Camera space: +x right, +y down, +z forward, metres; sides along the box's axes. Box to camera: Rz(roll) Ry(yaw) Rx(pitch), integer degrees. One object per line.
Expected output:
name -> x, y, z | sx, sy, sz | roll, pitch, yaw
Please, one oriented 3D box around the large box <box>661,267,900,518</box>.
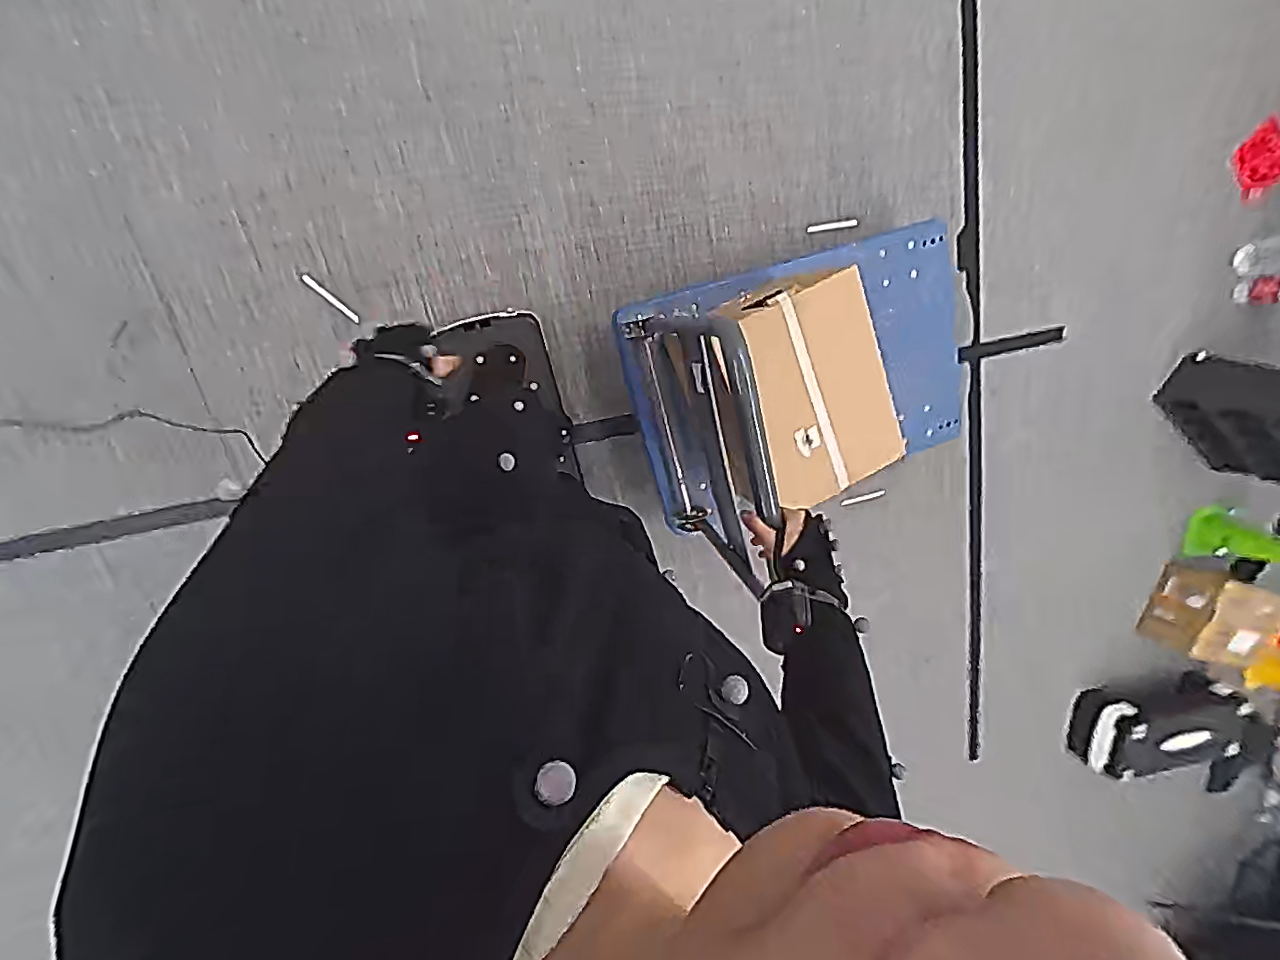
large box -> 0.292, -0.196, 1.182 | 0.320, 0.320, 0.408 | -27, 111, -6
